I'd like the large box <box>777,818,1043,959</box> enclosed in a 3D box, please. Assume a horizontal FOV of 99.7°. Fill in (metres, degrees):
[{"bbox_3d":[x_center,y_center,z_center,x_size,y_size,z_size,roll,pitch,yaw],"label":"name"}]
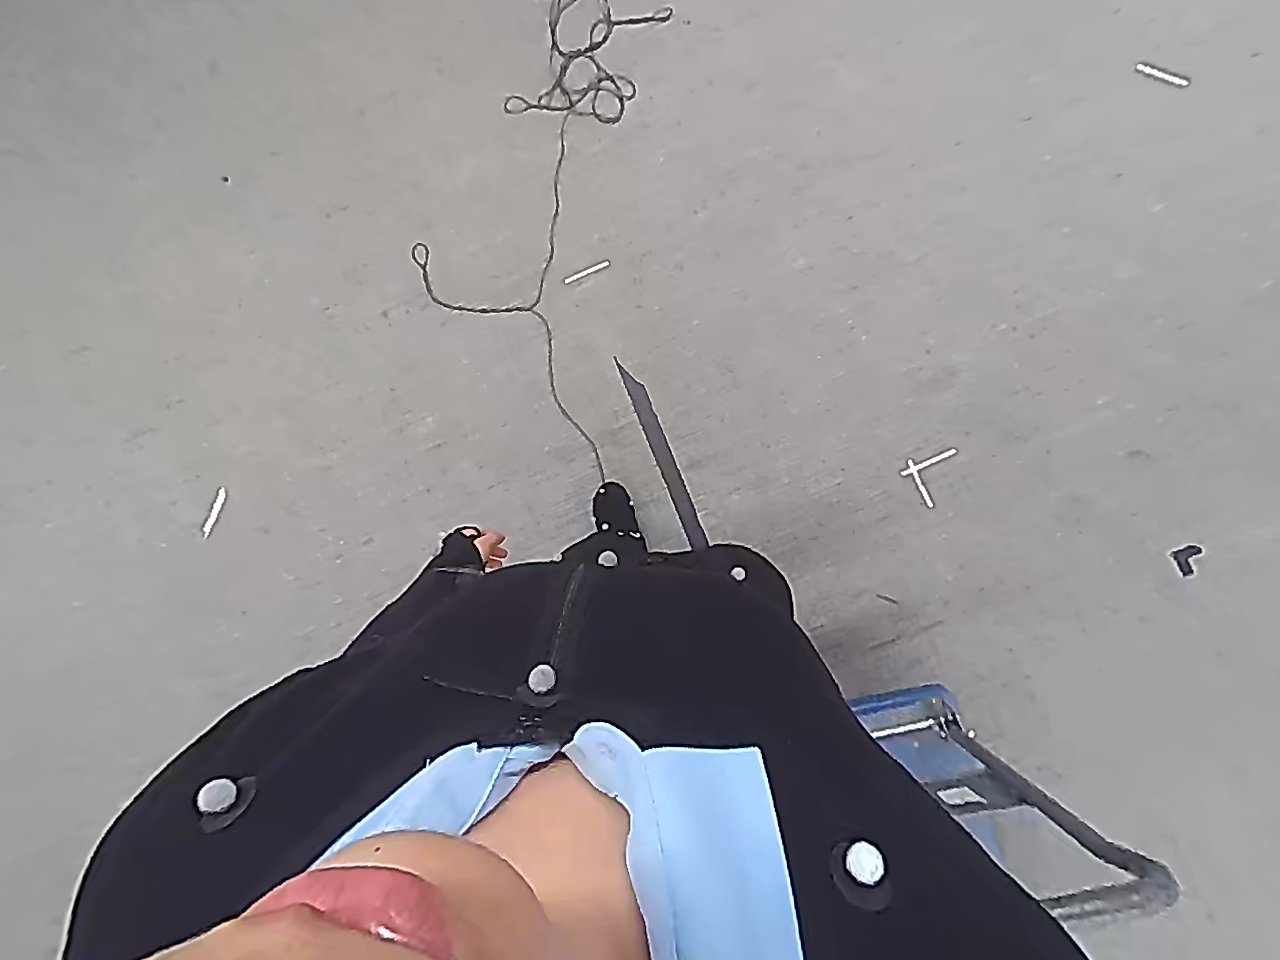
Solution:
[{"bbox_3d":[0.532,0.952,1.087,0.408,0.320,0.320,-14,86,4],"label":"large box"}]
